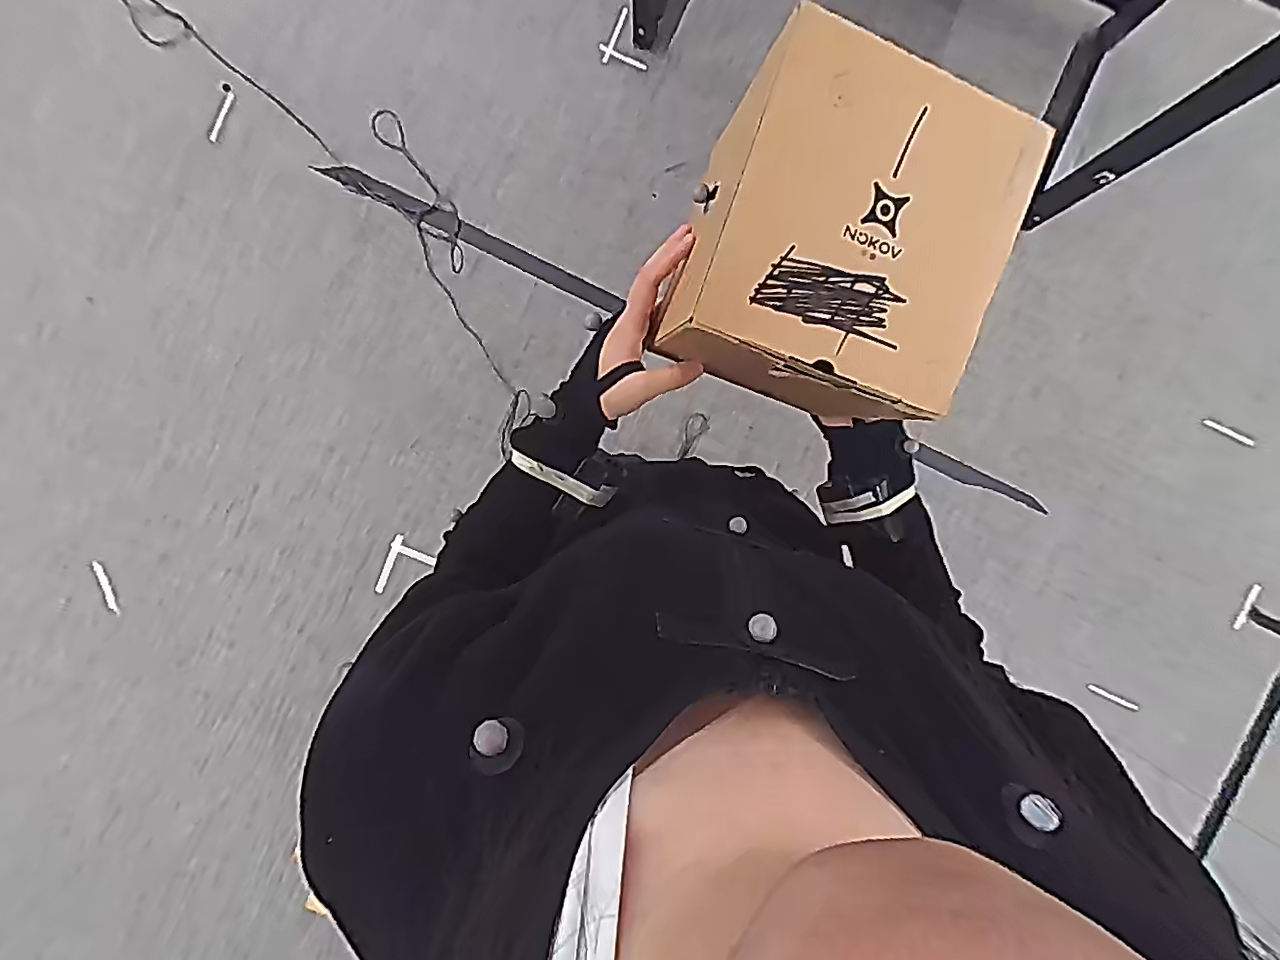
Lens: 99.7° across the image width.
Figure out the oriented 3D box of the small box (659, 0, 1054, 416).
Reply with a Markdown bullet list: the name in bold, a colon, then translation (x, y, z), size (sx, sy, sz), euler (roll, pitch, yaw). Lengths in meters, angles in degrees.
- **small box**: translation (0.121, -0.154, 0.378), size (0.168, 0.176, 0.179), euler (18, 95, -10)
